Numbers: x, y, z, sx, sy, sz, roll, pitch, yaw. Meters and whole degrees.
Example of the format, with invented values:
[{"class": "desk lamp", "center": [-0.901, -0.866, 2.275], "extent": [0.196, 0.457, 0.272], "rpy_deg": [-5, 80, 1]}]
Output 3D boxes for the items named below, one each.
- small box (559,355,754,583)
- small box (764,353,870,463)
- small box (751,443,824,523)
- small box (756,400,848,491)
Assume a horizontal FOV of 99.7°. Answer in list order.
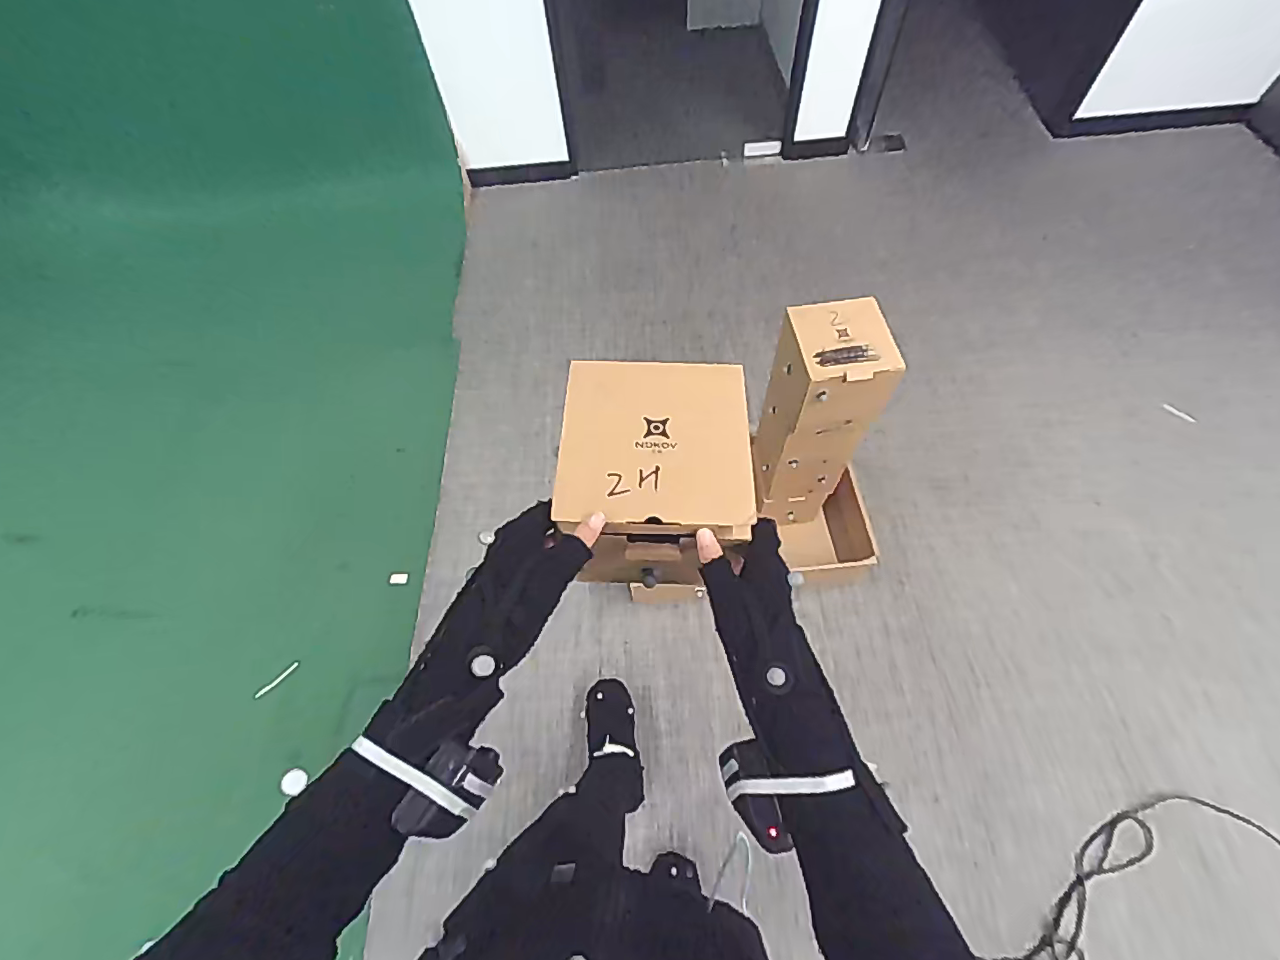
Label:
[{"class": "small box", "center": [0.016, -0.004, 0.553], "extent": [0.168, 0.176, 0.179], "rpy_deg": [2, 66, 1]}, {"class": "small box", "center": [0.373, -0.148, 1.171], "extent": [0.168, 0.176, 0.179], "rpy_deg": [-4, 61, 1]}, {"class": "small box", "center": [0.380, 0.006, 1.462], "extent": [0.168, 0.176, 0.179], "rpy_deg": [-10, 61, 0]}, {"class": "small box", "center": [0.383, -0.083, 1.304], "extent": [0.168, 0.176, 0.179], "rpy_deg": [-6, 61, 1]}]
